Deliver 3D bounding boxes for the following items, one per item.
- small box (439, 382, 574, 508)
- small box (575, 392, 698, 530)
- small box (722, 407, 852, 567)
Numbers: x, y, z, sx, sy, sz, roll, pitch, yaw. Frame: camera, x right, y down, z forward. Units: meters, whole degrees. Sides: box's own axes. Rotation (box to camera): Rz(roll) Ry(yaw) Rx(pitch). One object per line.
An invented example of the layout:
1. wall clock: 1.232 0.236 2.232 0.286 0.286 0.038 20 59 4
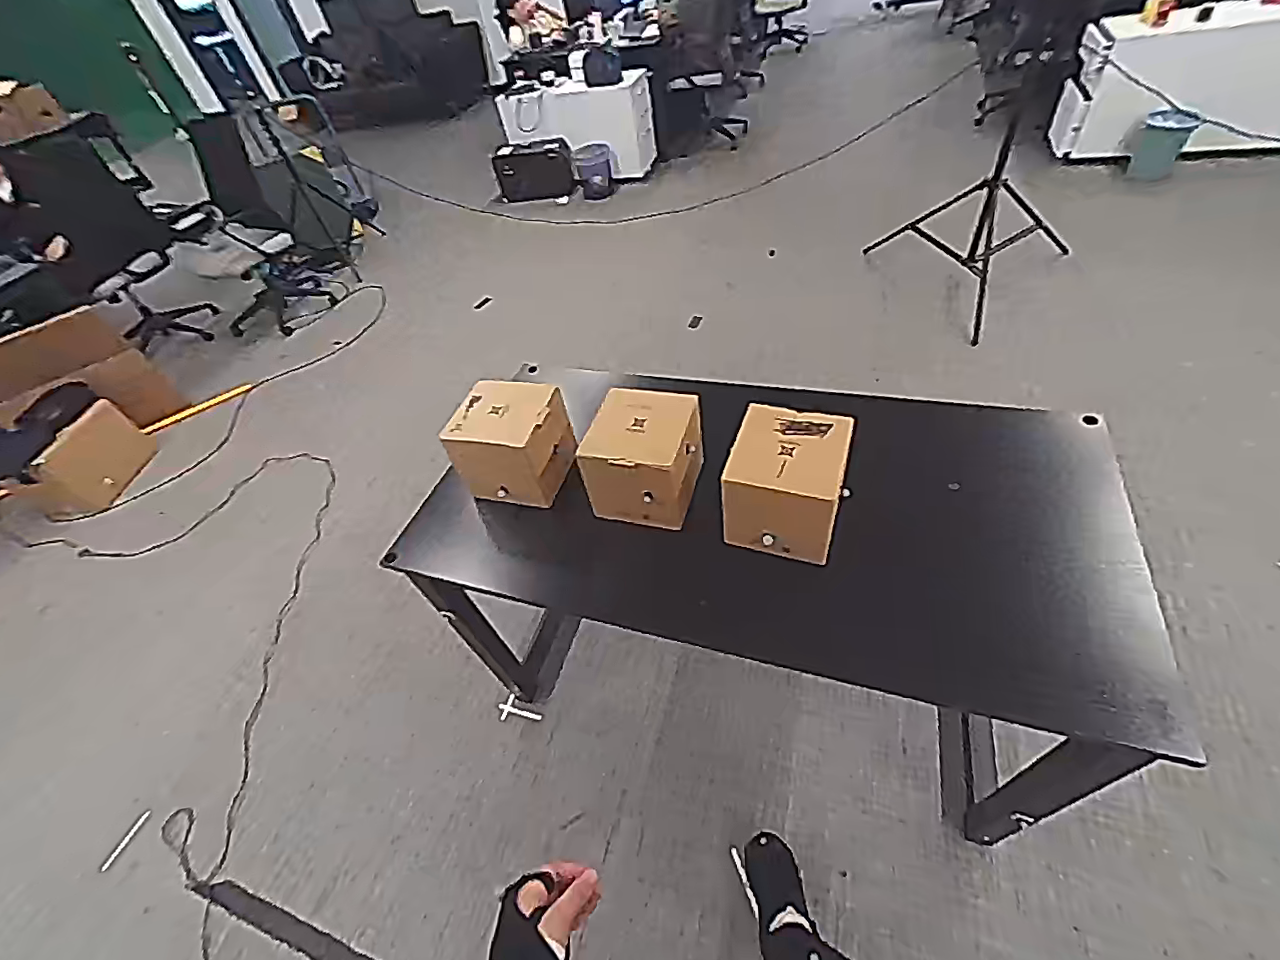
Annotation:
1. small box: -0.243 -0.065 1.042 0.179 0.176 0.168 8 50 16
2. small box: 0.006 -0.033 0.967 0.168 0.176 0.179 9 50 17
3. small box: 0.236 0.011 0.880 0.168 0.176 0.179 12 52 21
